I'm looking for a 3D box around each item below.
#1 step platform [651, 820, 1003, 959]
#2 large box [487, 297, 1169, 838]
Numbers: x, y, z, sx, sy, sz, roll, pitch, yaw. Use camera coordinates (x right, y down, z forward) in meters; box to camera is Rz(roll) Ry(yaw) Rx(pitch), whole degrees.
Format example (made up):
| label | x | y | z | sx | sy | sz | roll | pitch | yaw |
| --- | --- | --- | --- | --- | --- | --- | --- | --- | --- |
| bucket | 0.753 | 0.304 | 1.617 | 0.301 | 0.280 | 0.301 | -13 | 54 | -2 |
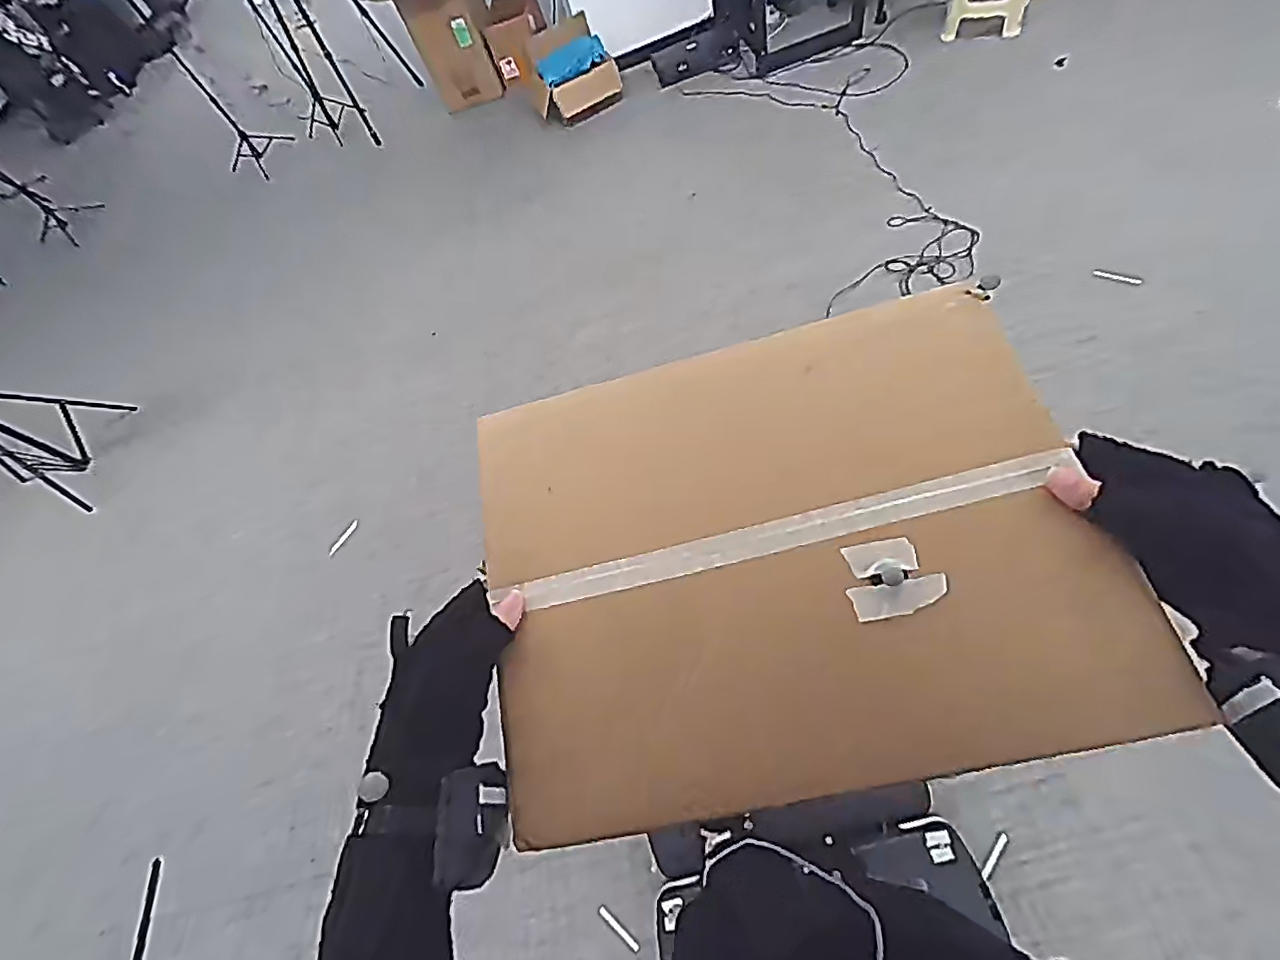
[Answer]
| label | x | y | z | sx | sy | sz | roll | pitch | yaw |
| --- | --- | --- | --- | --- | --- | --- | --- | --- | --- |
| step platform | 0.367 | 0.958 | 1.137 | 0.684 | 0.204 | 0.286 | -20 | 57 | 6 |
| large box | 0.115 | 0.096 | 0.524 | 0.408 | 0.320 | 0.320 | -15 | 68 | 6 |
